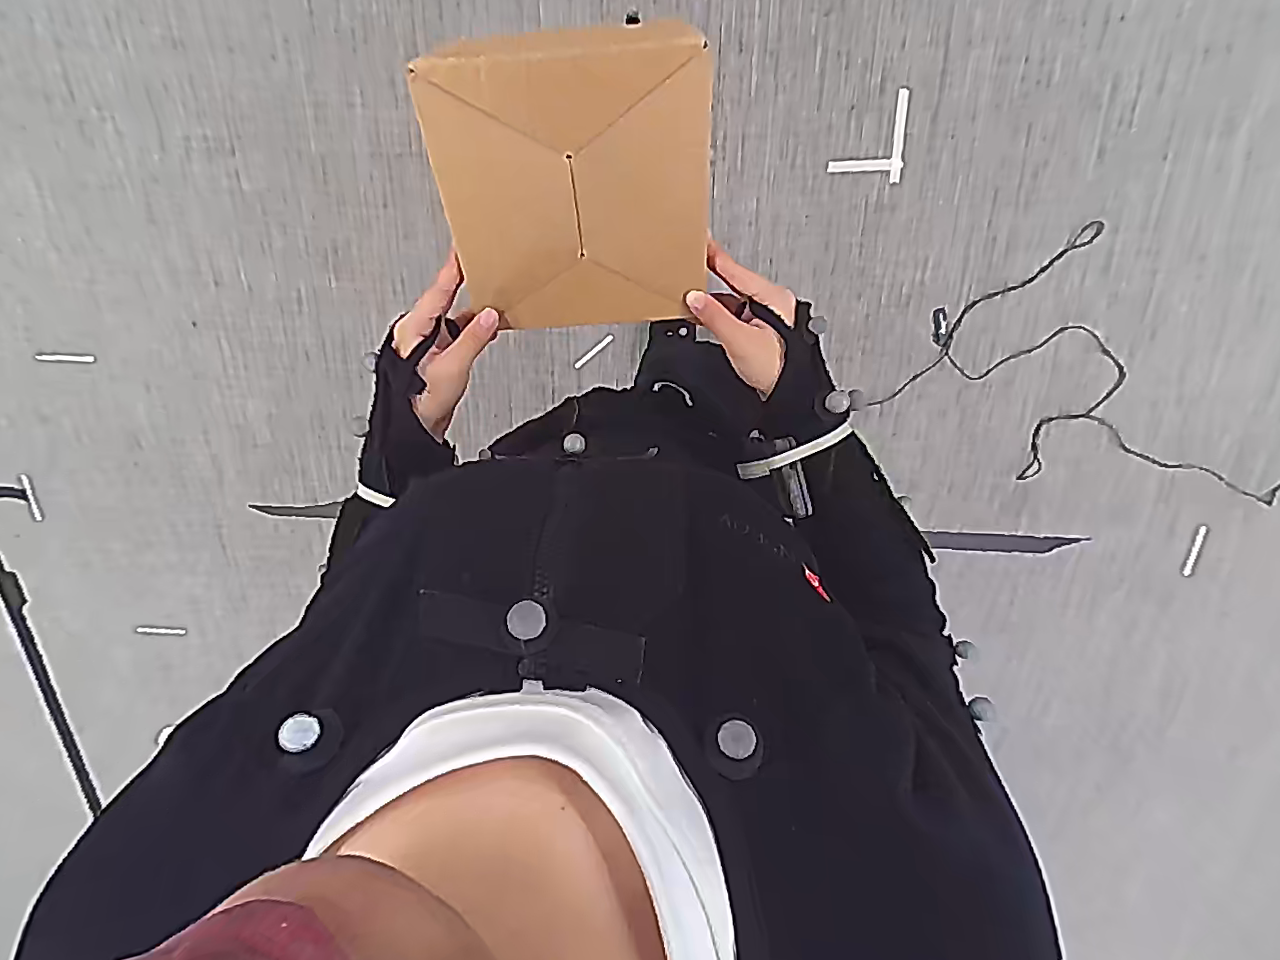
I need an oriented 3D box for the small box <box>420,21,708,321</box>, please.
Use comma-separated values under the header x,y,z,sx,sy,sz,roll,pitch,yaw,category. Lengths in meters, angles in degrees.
x,y,z,sx,sy,sz,roll,pitch,yaw,category
-0.046,-0.238,0.419,0.179,0.176,0.168,-3,134,2,small box
